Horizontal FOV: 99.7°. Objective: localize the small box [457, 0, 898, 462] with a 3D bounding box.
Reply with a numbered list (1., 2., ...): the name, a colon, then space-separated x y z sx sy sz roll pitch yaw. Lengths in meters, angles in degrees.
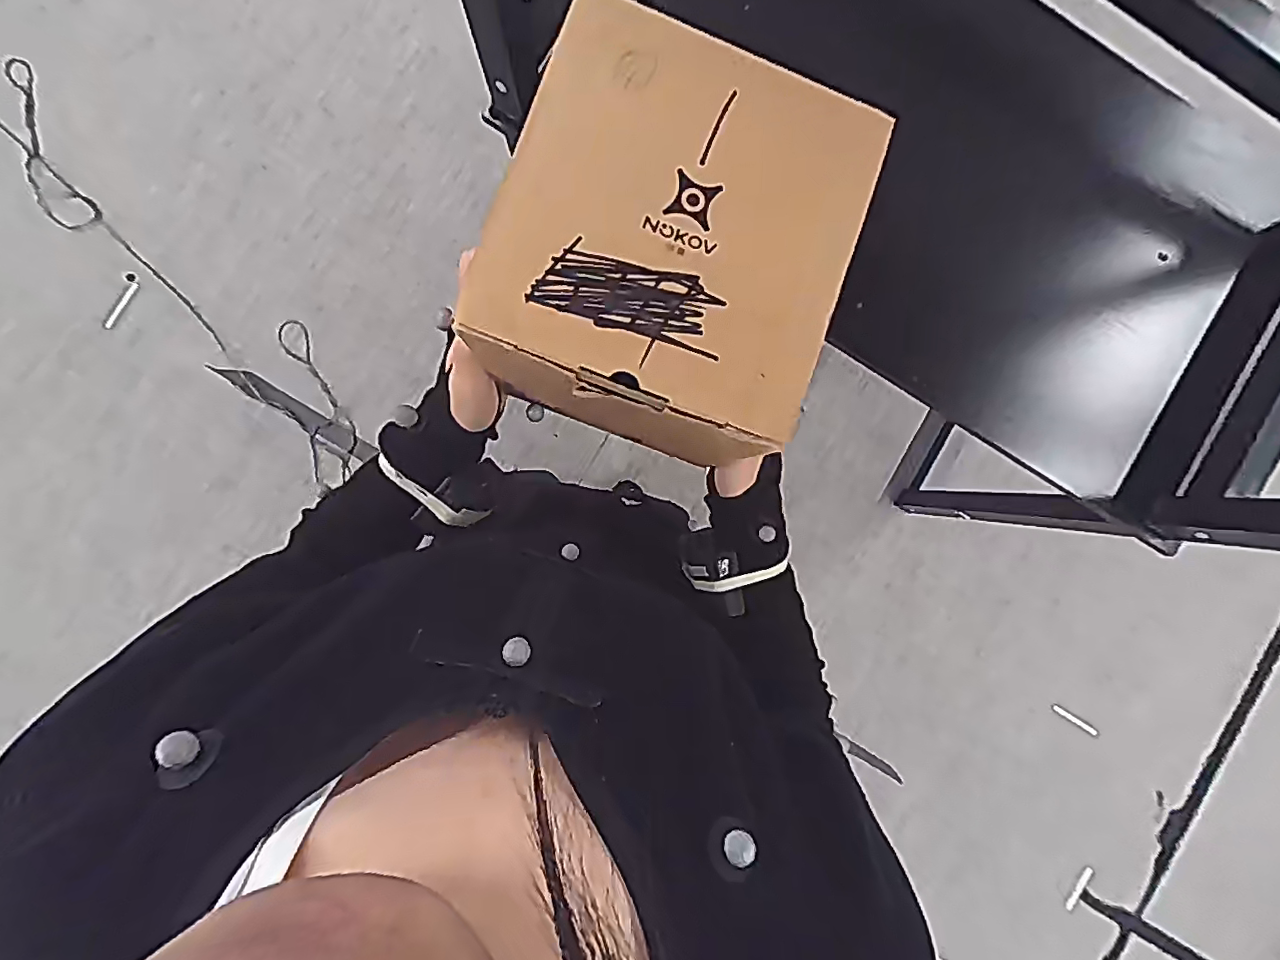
1. small box: 0.014 -0.119 0.330 0.168 0.176 0.179 20 86 -6
